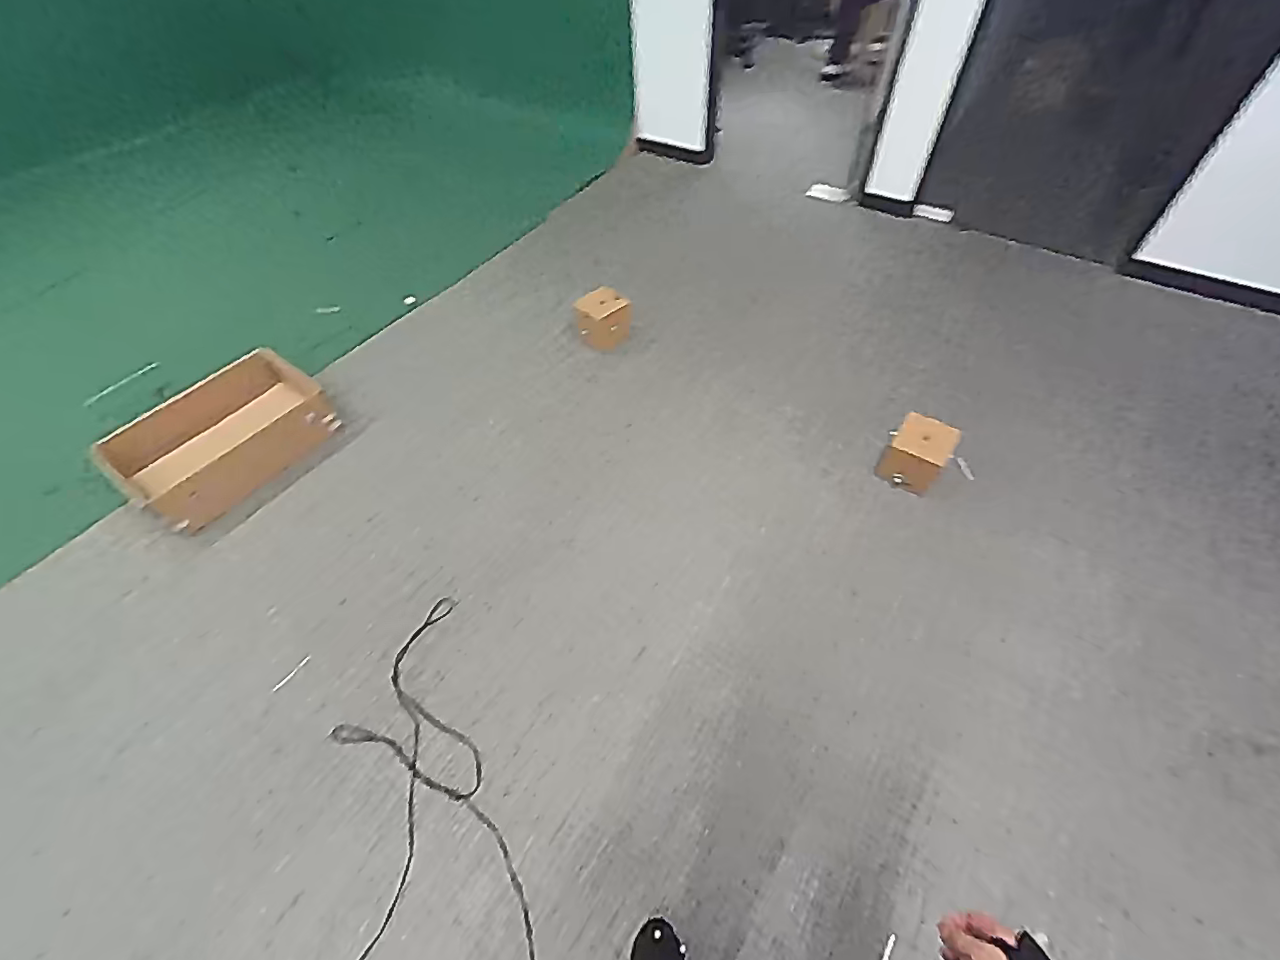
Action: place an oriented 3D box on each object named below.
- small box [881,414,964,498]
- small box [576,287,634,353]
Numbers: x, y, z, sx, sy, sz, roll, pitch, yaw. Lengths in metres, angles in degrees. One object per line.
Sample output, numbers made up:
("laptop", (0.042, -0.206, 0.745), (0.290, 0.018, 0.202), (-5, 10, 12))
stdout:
("small box", (0.907, -0.076, 1.750), (0.168, 0.176, 0.179), (28, 60, 23))
("small box", (-0.138, -0.655, 2.222), (0.179, 0.176, 0.168), (-37, 60, -22))
